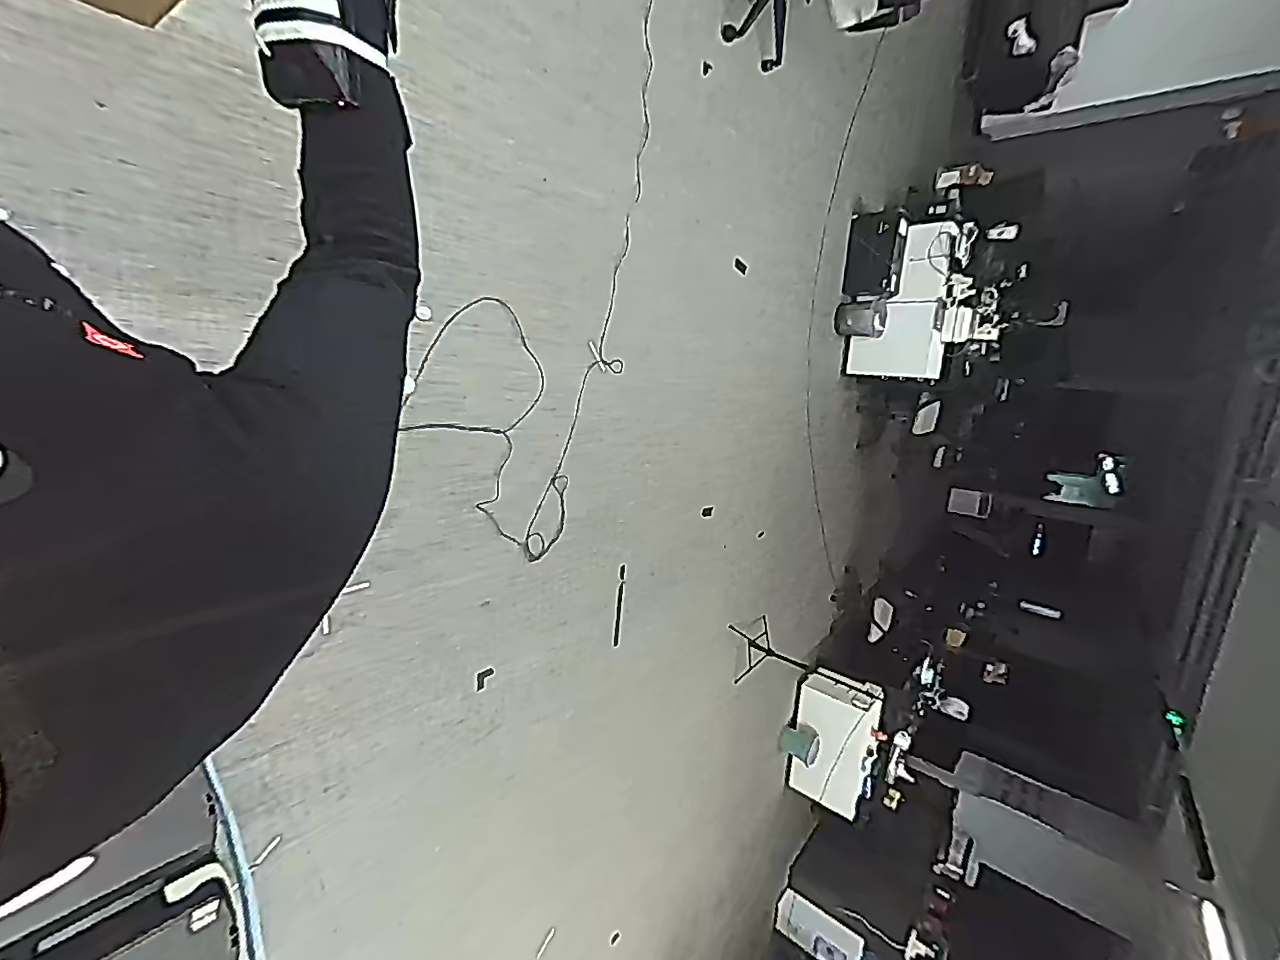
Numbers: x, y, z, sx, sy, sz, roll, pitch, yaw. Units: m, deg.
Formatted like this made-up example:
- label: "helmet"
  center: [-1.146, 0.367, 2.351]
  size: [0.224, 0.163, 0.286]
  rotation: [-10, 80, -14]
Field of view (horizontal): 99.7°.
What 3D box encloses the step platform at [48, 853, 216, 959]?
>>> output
- label: "step platform"
  center: [-1.257, 1.088, 1.047]
  size: [0.684, 0.204, 0.286]
  rotation: [-12, 109, -48]
